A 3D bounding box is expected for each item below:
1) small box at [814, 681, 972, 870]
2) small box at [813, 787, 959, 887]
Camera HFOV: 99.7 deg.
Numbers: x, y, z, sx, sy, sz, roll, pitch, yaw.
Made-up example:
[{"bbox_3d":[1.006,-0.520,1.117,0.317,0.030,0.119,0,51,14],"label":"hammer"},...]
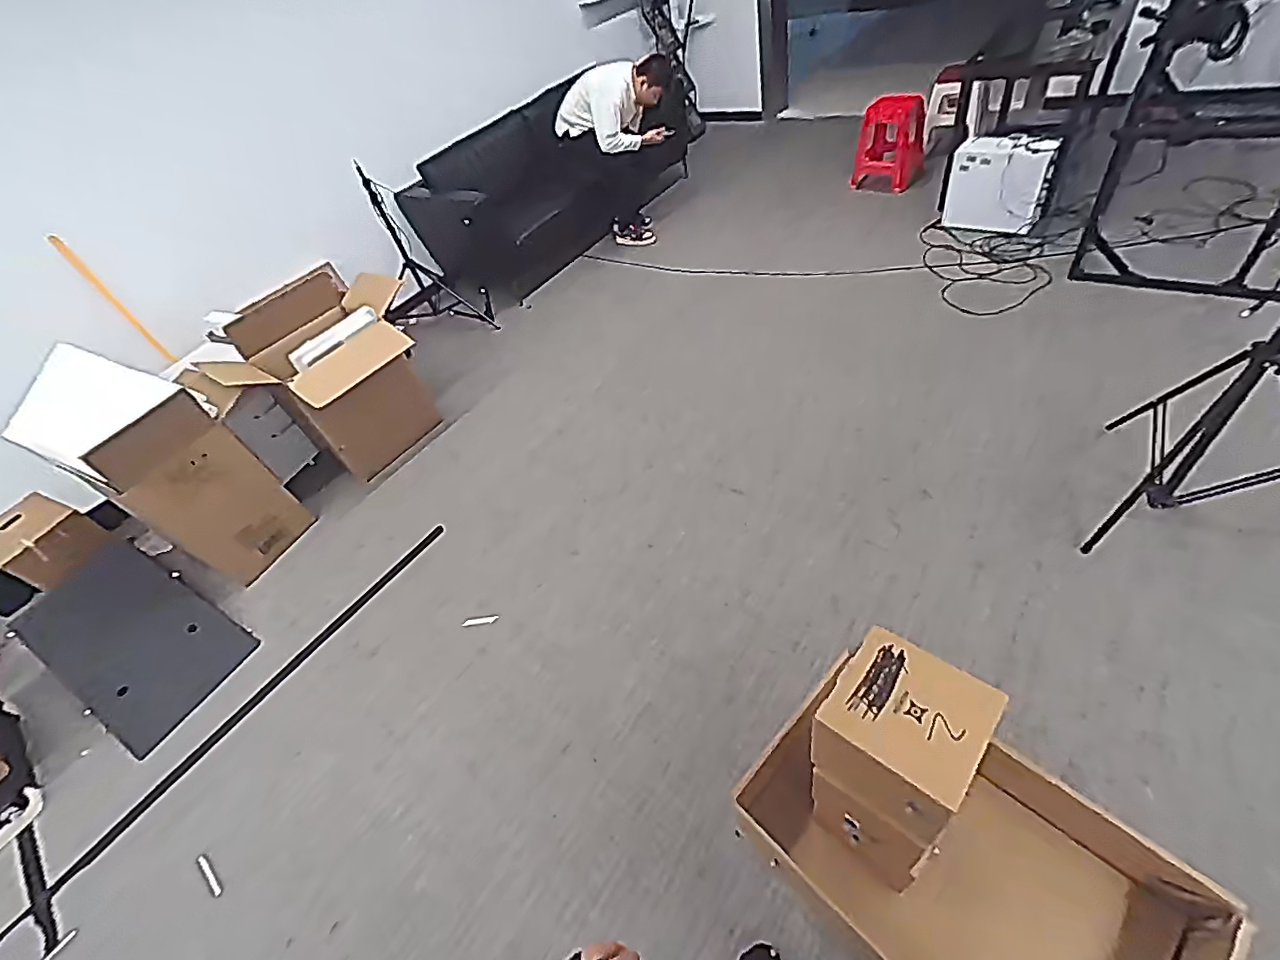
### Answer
[{"bbox_3d":[0.383,0.460,0.845,0.168,0.176,0.179,26,58,35],"label":"small box"},{"bbox_3d":[0.422,0.576,0.955,0.179,0.176,0.168,29,61,35],"label":"small box"}]
